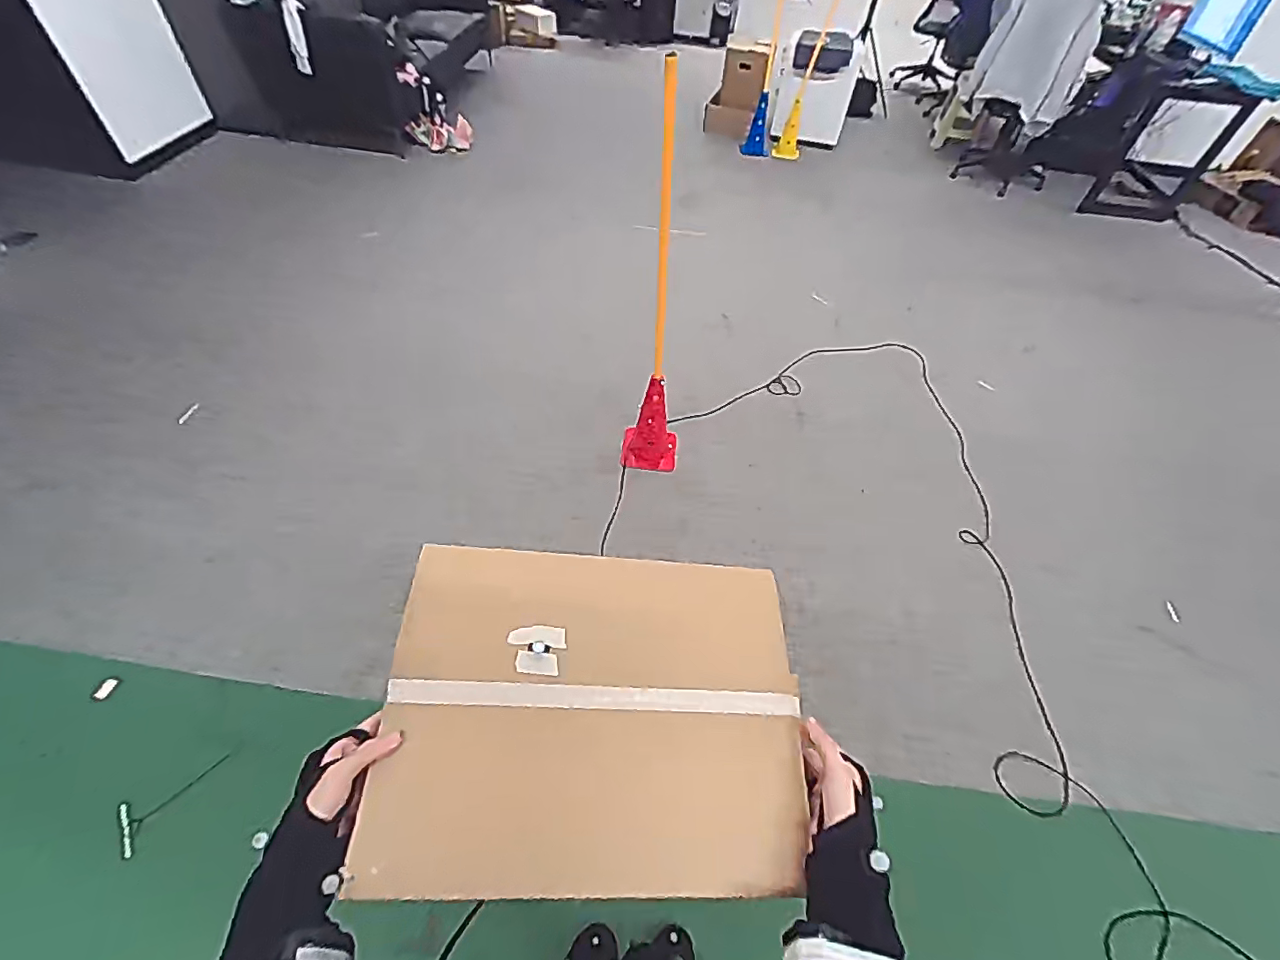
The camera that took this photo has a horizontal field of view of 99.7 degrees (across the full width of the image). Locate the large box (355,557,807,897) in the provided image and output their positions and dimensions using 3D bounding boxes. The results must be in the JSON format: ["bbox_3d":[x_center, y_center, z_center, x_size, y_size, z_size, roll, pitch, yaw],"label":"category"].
[{"bbox_3d":[-0.061,0.308,0.675,0.408,0.320,0.320,5,56,-7],"label":"large box"}]
